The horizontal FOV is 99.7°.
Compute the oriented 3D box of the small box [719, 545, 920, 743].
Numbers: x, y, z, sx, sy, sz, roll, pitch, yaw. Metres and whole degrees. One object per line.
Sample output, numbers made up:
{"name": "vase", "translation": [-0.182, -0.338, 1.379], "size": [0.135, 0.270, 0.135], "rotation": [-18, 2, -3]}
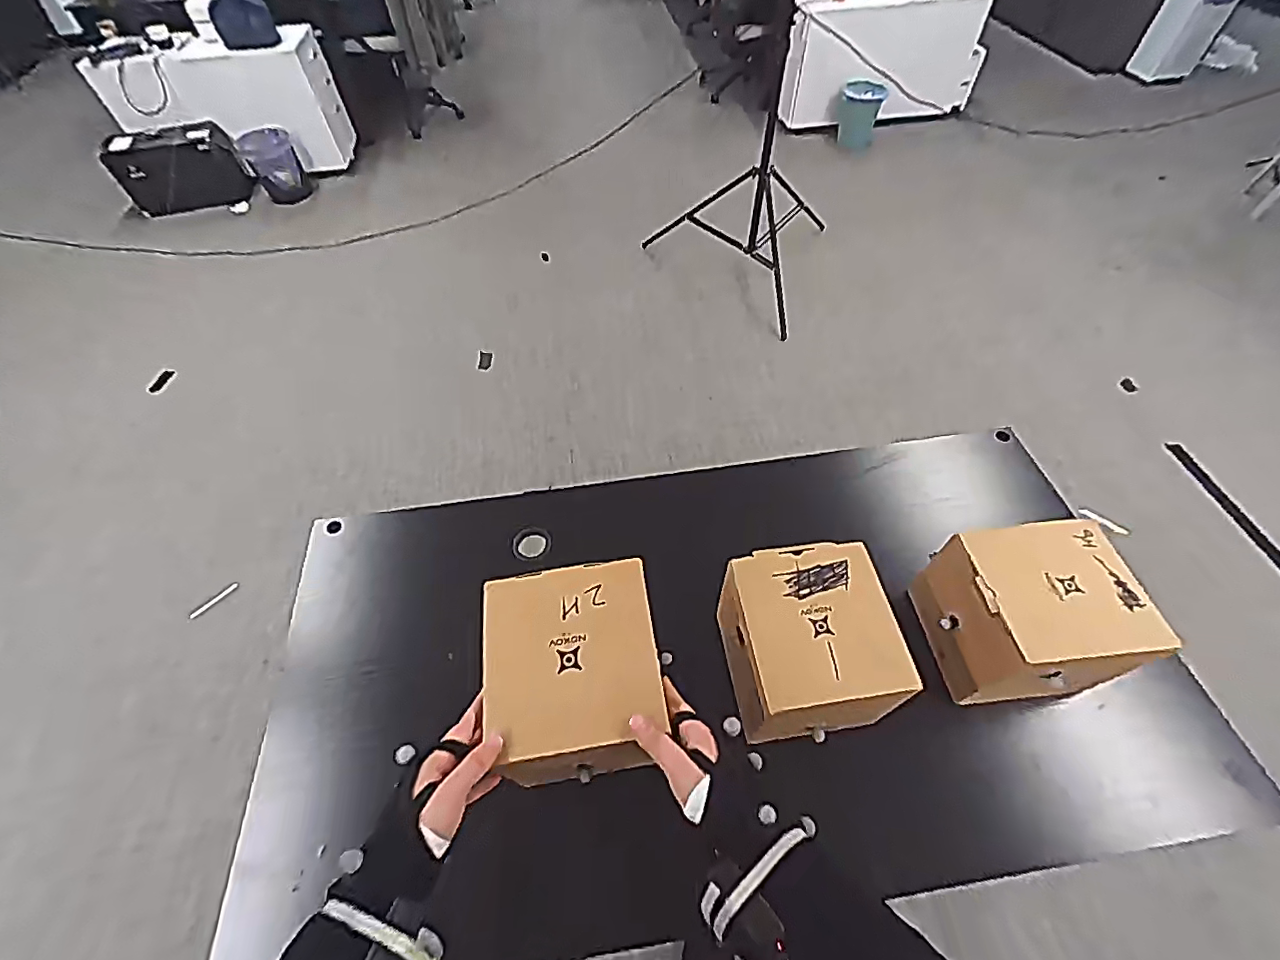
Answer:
{"name": "small box", "translation": [0.199, 0.204, 0.665], "size": [0.168, 0.176, 0.179], "rotation": [-8, 54, -3]}

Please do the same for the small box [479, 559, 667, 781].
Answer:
{"name": "small box", "translation": [-0.064, 0.208, 0.573], "size": [0.168, 0.176, 0.179], "rotation": [-8, 56, -3]}

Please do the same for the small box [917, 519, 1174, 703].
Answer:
{"name": "small box", "translation": [0.478, 0.169, 0.681], "size": [0.179, 0.176, 0.168], "rotation": [-6, 54, -1]}
